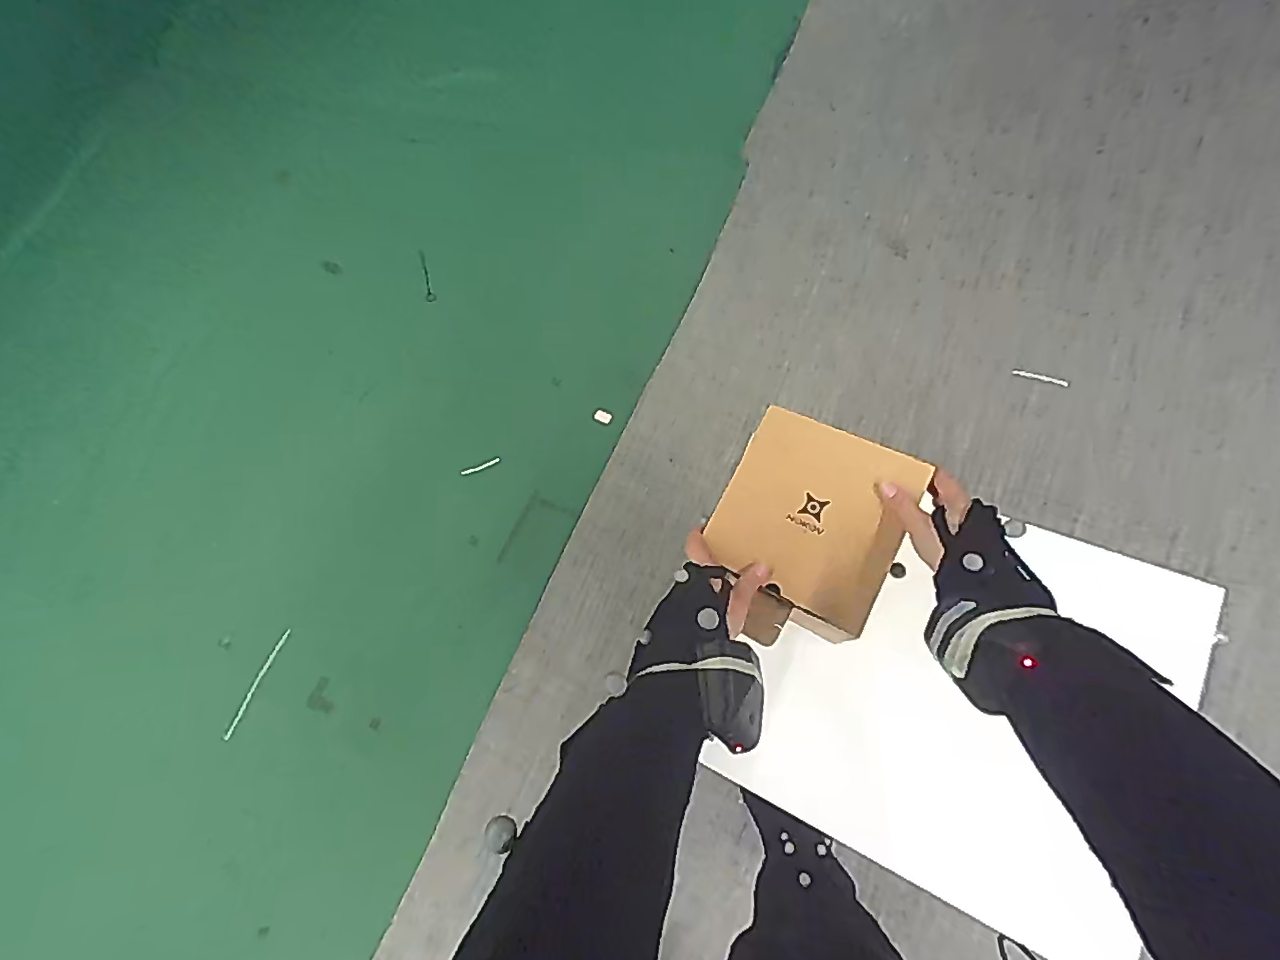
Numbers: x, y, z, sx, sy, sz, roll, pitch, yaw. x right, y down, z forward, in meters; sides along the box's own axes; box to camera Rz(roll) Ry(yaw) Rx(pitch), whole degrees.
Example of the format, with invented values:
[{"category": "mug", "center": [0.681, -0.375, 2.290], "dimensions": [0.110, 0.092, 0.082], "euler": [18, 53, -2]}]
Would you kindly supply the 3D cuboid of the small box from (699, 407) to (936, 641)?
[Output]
[{"category": "small box", "center": [0.180, 0.056, 0.582], "dimensions": [0.168, 0.176, 0.179], "euler": [26, 80, 19]}]
